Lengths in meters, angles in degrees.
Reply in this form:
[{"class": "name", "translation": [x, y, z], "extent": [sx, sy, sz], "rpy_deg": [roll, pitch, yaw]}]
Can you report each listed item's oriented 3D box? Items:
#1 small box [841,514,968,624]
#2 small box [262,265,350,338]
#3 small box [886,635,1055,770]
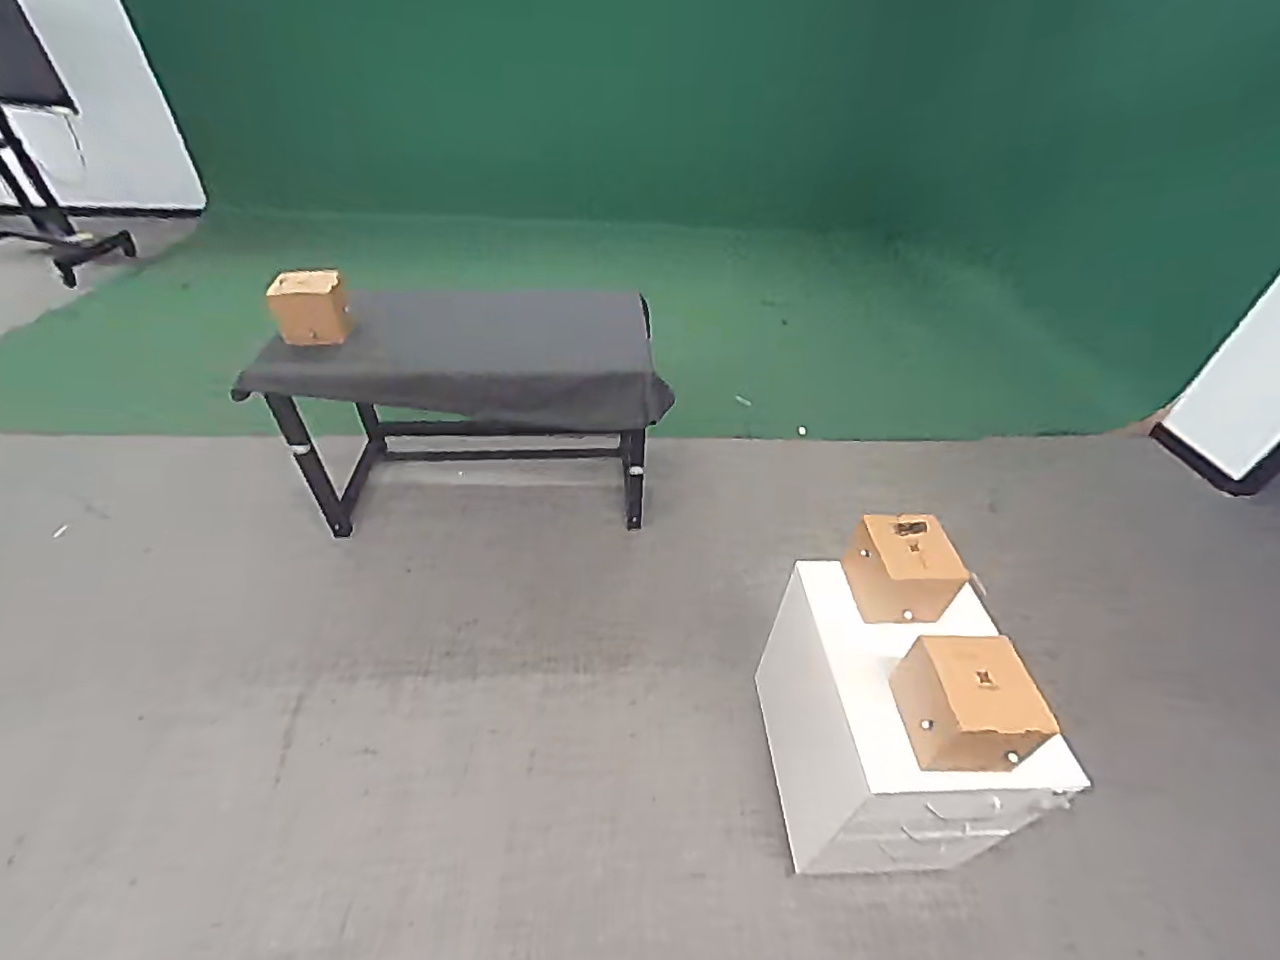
[{"class": "small box", "translation": [0.565, 0.195, 1.186], "extent": [0.168, 0.176, 0.179], "rpy_deg": [0, 45, -4]}, {"class": "small box", "translation": [-1.032, -0.556, 1.690], "extent": [0.179, 0.176, 0.168], "rpy_deg": [-4, 42, -11]}, {"class": "small box", "translation": [0.574, 0.400, 0.968], "extent": [0.168, 0.176, 0.179], "rpy_deg": [2, 41, -4]}]
